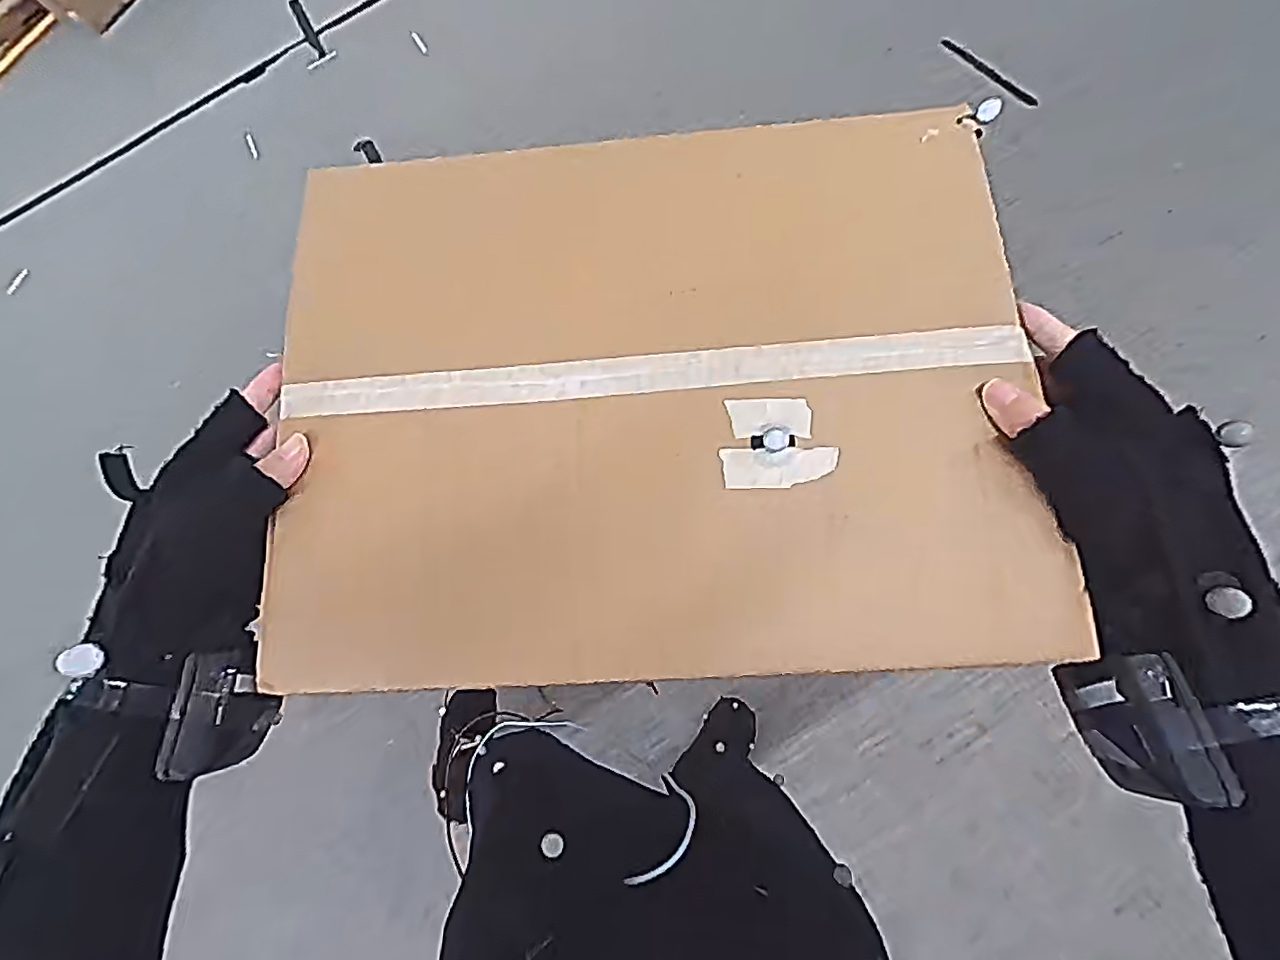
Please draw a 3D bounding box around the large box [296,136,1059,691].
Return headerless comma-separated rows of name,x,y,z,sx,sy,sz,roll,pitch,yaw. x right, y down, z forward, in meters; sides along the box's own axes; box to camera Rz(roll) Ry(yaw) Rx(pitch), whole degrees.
large box,0.011,-0.019,0.457,0.408,0.320,0.320,-4,77,2
